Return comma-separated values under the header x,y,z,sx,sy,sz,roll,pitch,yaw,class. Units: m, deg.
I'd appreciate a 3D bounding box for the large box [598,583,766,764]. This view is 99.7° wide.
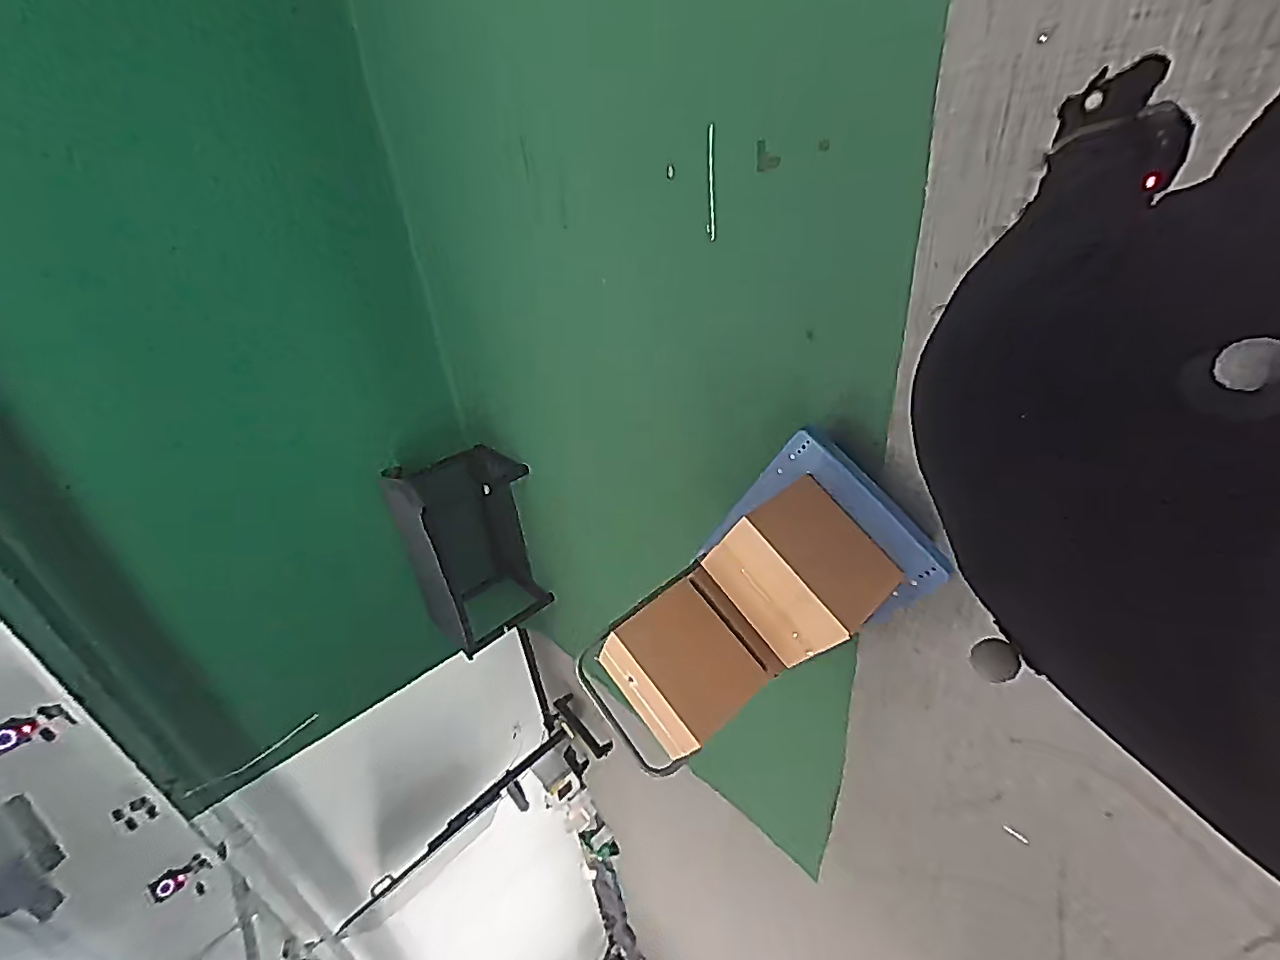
x,y,z,sx,sy,sz,roll,pitch,yaw,class
0.121,0.614,1.724,0.408,0.320,0.320,50,149,19,large box
